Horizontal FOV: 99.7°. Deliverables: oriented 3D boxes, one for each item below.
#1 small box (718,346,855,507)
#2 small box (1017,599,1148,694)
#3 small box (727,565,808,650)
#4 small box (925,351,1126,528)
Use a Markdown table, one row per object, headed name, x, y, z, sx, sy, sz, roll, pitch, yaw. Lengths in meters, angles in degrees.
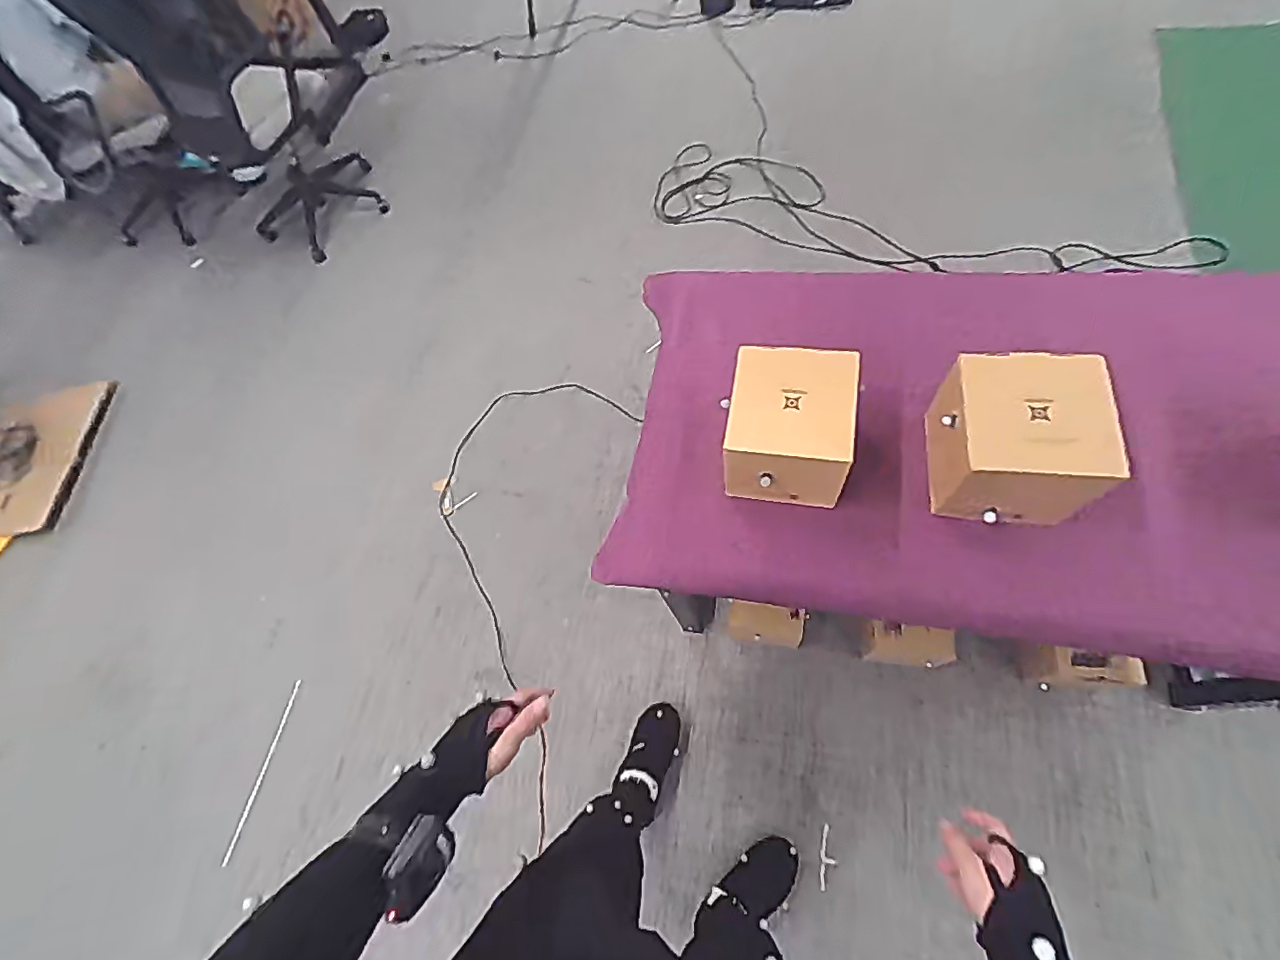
| name | x | y | z | sx | sy | sz | roll | pitch | yaw |
| --- | --- | --- | --- | --- | --- | --- | --- | --- | --- |
| small box | 0.215 | -0.074 | 0.800 | 0.168 | 0.176 | 0.179 | 7 | 66 | 15 |
| small box | 0.996 | 0.384 | 1.236 | 0.168 | 0.176 | 0.179 | 3 | 65 | 13 |
| small box | 0.331 | 0.333 | 1.398 | 0.179 | 0.176 | 0.168 | 8 | 67 | 16 |
| small box | 0.498 | -0.052 | 0.731 | 0.168 | 0.176 | 0.179 | 4 | 66 | 14 |
